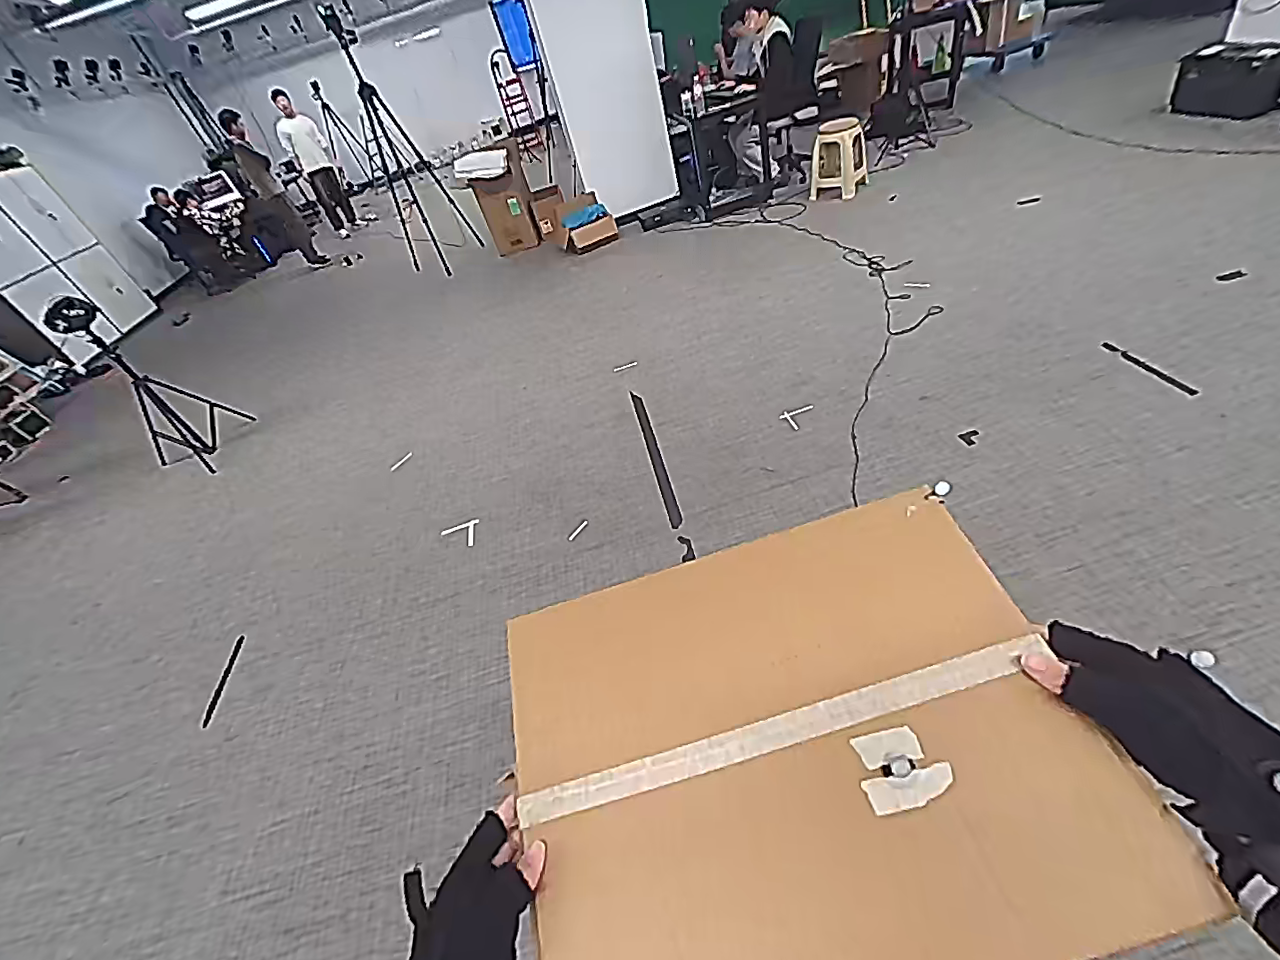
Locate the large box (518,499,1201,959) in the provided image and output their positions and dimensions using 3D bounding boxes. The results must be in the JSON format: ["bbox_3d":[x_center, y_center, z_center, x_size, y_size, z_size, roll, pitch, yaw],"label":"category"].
[{"bbox_3d":[0.138,0.282,0.526,0.408,0.320,0.320,-19,52,1],"label":"large box"}]
